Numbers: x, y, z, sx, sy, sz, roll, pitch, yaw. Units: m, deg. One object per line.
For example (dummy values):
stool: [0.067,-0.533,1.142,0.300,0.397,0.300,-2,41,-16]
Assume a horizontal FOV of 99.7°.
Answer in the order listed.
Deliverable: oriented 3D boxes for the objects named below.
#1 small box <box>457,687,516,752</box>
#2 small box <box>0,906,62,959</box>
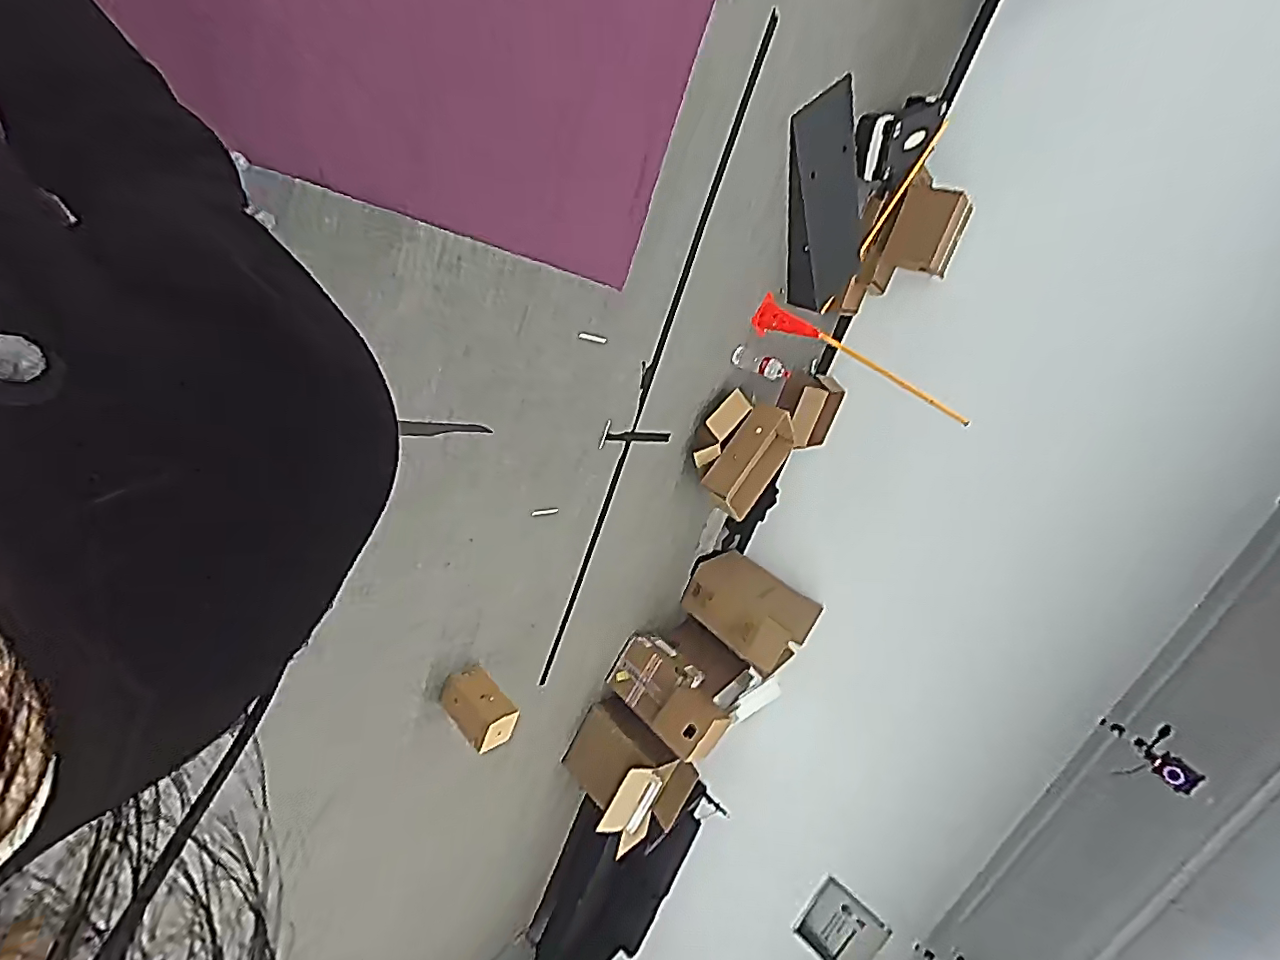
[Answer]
small box: [-0.694,1.067,2.424,0.168,0.176,0.179,-1,117,-55]
small box: [-1.758,1.357,1.520,0.168,0.176,0.179,-11,127,-49]
